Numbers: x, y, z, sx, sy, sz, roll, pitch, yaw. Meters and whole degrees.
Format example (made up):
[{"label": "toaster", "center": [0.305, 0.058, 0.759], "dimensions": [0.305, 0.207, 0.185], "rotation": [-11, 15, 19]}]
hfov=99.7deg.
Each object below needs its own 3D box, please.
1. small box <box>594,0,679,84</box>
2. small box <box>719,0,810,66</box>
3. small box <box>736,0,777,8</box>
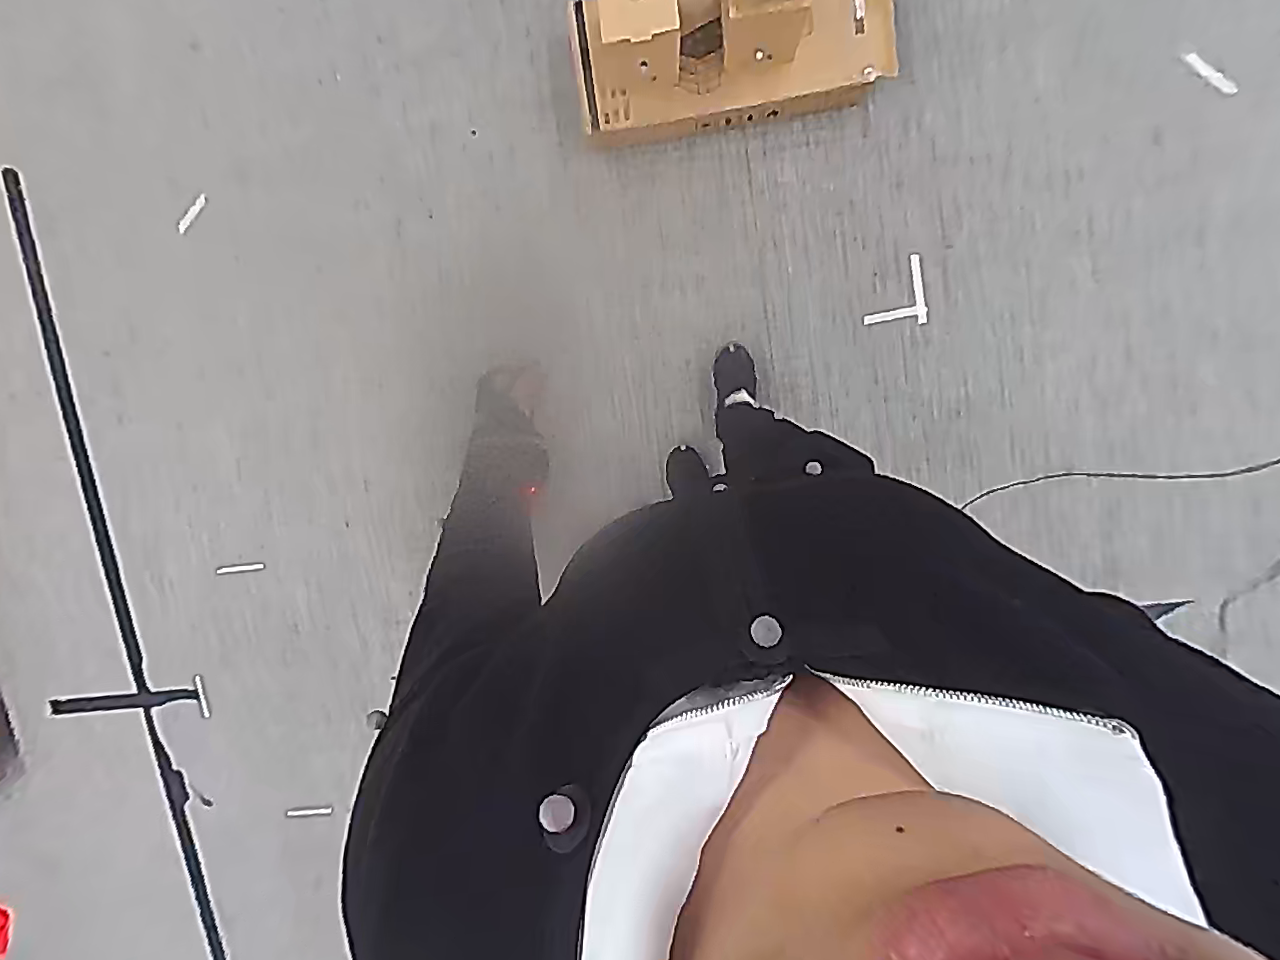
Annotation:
[{"label": "small box", "center": [-0.005, -1.010, 1.186], "dimensions": [0.168, 0.176, 0.179], "rotation": [-7, 98, 6]}, {"label": "small box", "center": [0.261, -1.043, 1.164], "dimensions": [0.168, 0.176, 0.179], "rotation": [-4, 97, 5]}, {"label": "small box", "center": [0.252, -1.039, 0.998], "dimensions": [0.168, 0.176, 0.179], "rotation": [-8, 96, 6]}]
